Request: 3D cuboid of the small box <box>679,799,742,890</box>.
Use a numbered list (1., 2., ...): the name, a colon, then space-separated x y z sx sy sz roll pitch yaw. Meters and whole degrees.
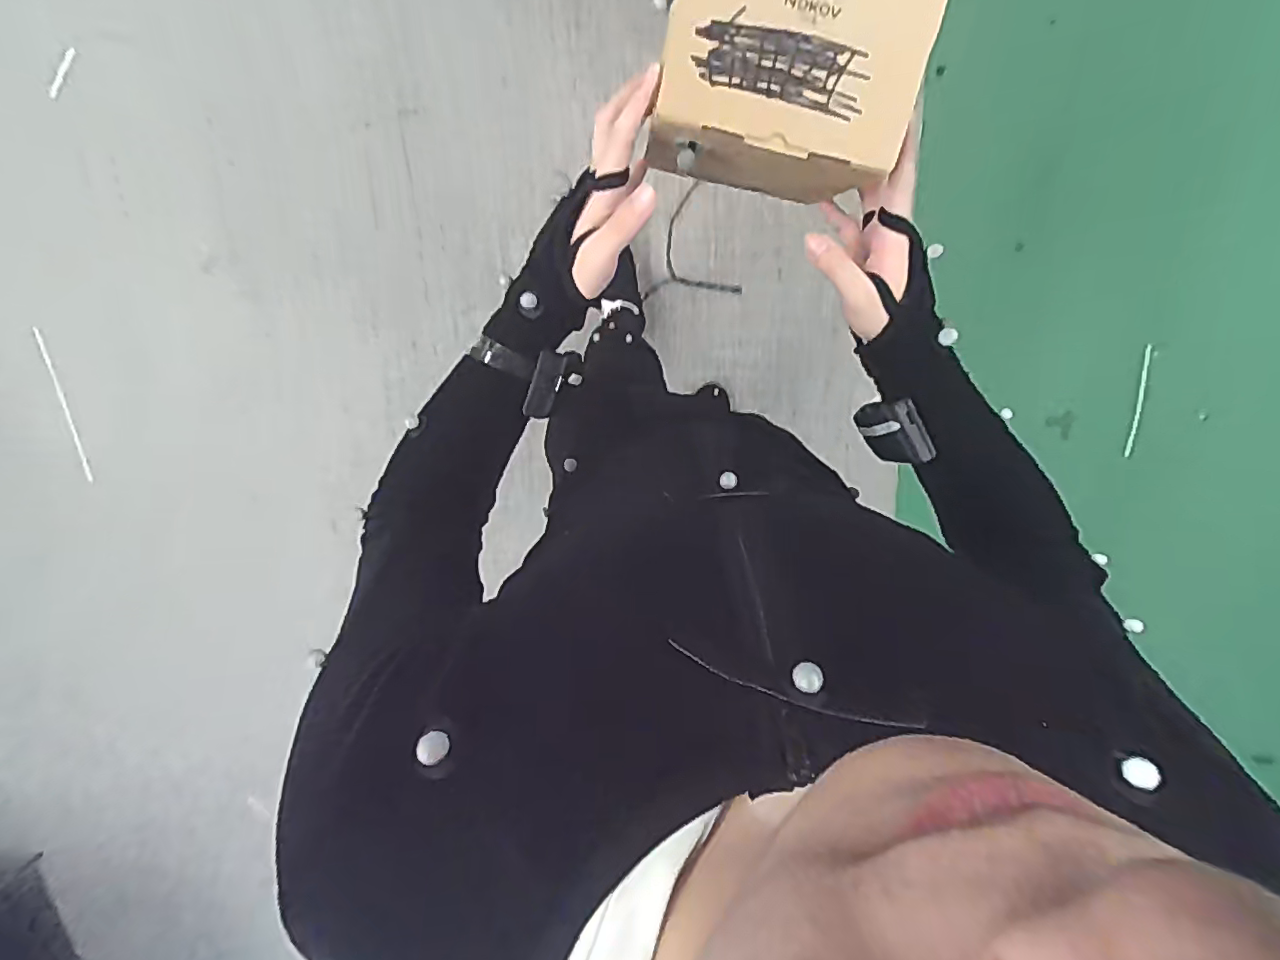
1. small box: 0.211 1.117 1.665 0.179 0.176 0.168 2 105 3
